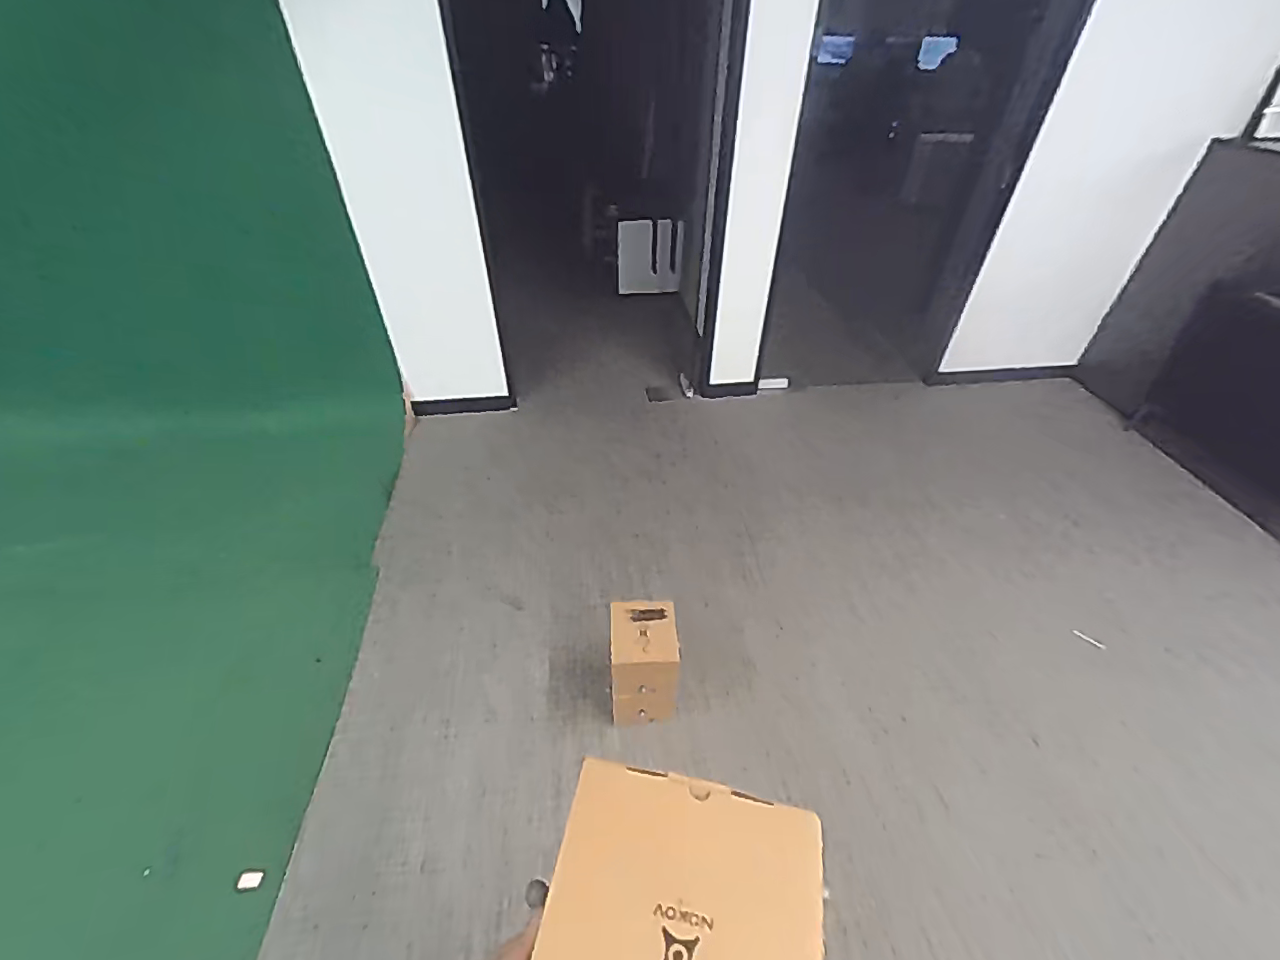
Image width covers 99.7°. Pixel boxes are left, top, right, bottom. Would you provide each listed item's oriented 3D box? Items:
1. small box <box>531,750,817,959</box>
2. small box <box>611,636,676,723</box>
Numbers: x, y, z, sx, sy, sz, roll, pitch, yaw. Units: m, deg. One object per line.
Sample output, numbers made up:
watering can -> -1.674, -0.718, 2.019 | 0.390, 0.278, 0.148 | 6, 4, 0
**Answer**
small box -> 0.020, 0.323, 0.379 | 0.168, 0.176, 0.179 | 10, 46, 6
small box -> 0.008, 0.560, 1.506 | 0.168, 0.176, 0.179 | -3, 43, -4
